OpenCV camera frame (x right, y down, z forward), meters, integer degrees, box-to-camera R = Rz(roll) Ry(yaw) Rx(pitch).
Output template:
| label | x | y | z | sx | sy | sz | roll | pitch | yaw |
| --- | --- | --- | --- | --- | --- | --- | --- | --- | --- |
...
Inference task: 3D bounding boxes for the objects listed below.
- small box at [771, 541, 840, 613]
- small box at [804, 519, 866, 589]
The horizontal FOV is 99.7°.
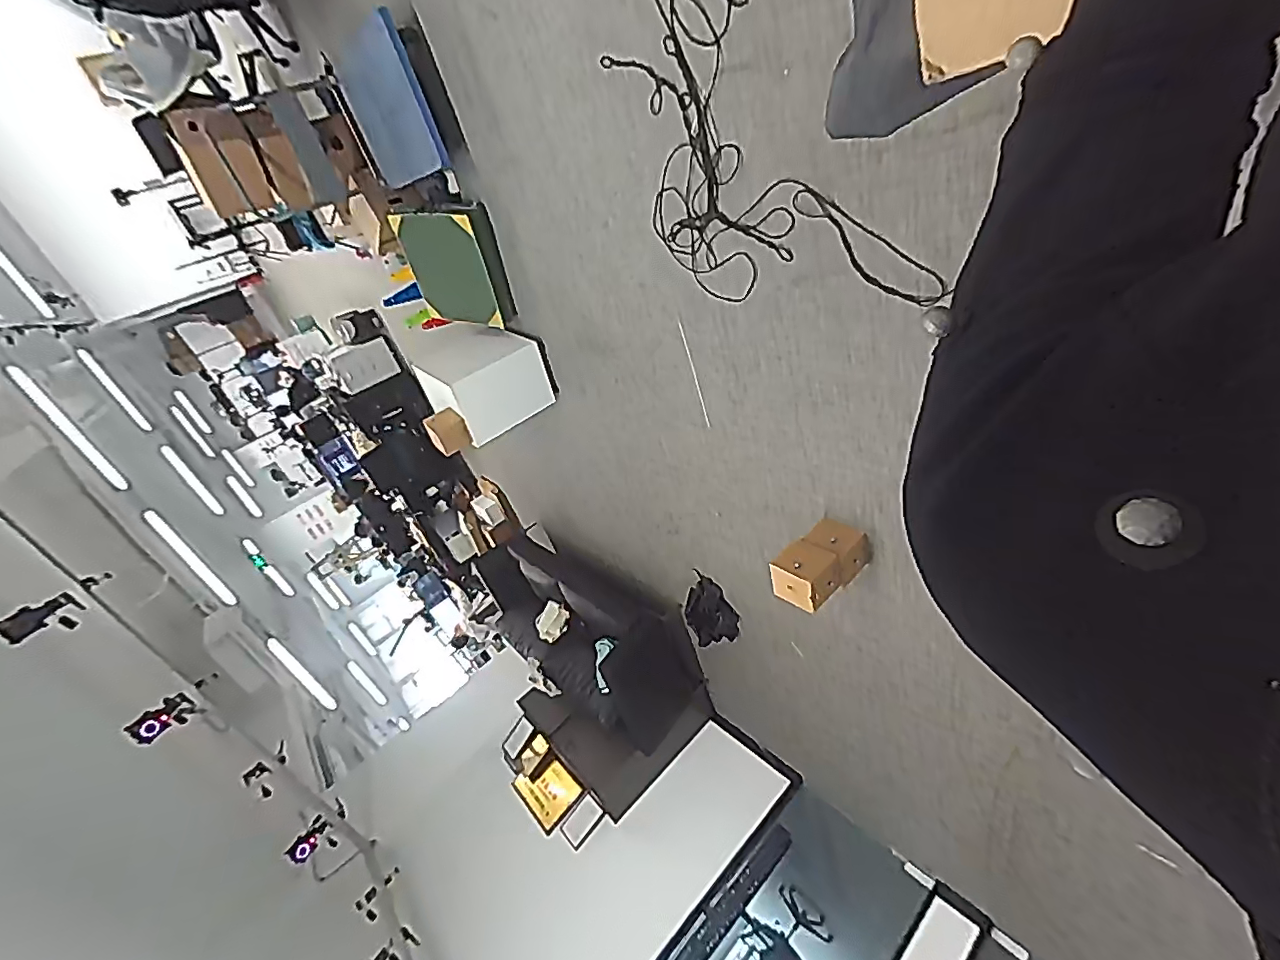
| label | x | y | z | sx | sy | sz | roll | pitch | yaw |
| --- | --- | --- | --- | --- | --- | --- | --- | --- | --- |
| small box | 0.608 | 0.347 | 1.981 | 0.179 | 0.176 | 0.168 | 23 | 140 | 45 |
| small box | 0.739 | 0.274 | 2.049 | 0.179 | 0.176 | 0.168 | 23 | 140 | 45 |
